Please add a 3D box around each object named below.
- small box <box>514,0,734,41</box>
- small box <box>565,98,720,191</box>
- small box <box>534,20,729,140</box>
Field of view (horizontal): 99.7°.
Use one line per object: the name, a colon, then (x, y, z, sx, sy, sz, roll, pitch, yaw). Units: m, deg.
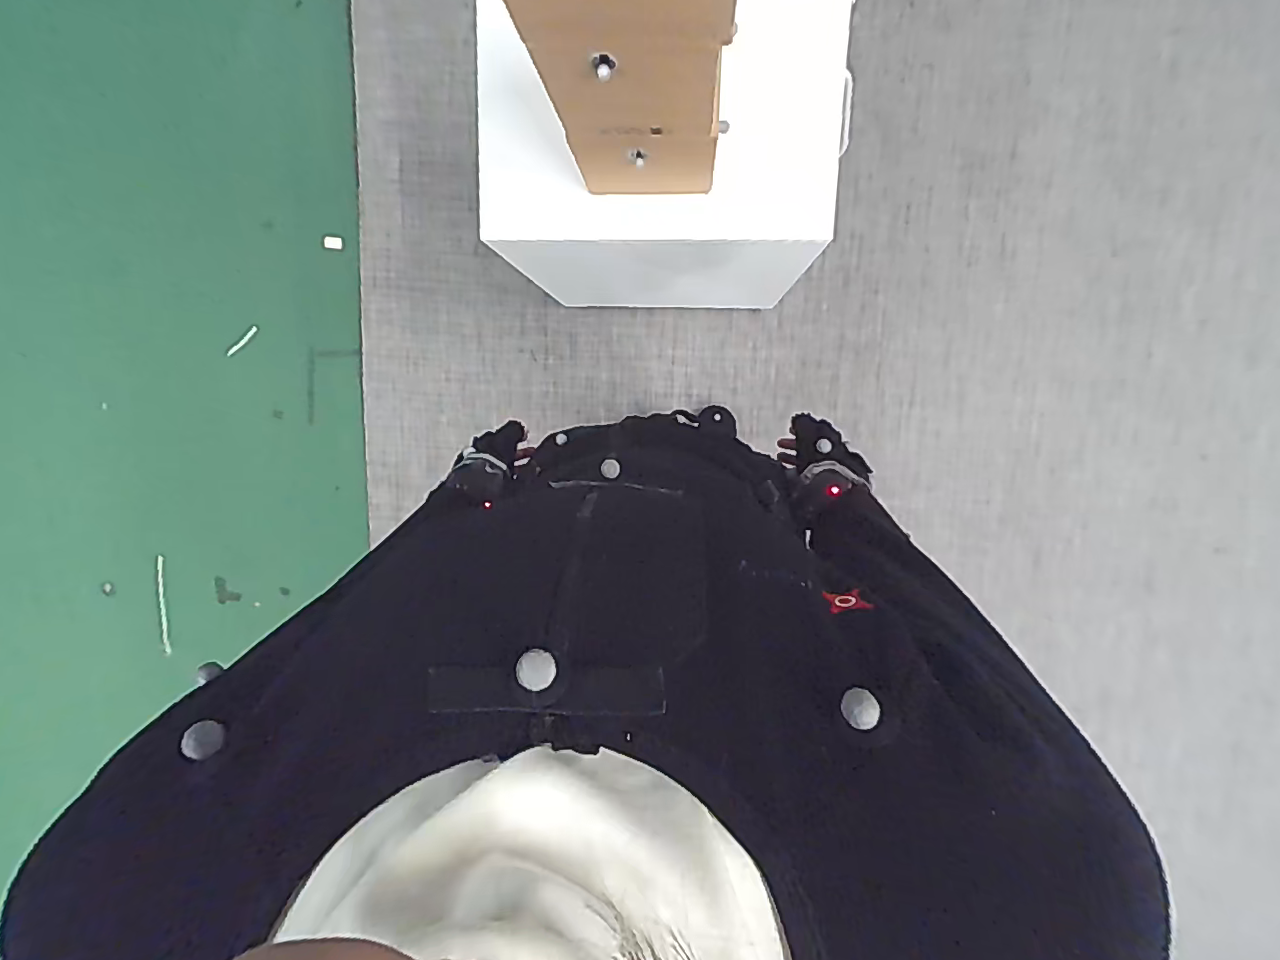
small box: (-0.015, -0.432, 0.357, 0.179, 0.176, 0.168, 5, 99, 4)
small box: (0.011, -0.480, 0.680, 0.179, 0.176, 0.168, 2, 99, 4)
small box: (-0.002, -0.461, 0.521, 0.168, 0.176, 0.179, 1, 99, 4)
